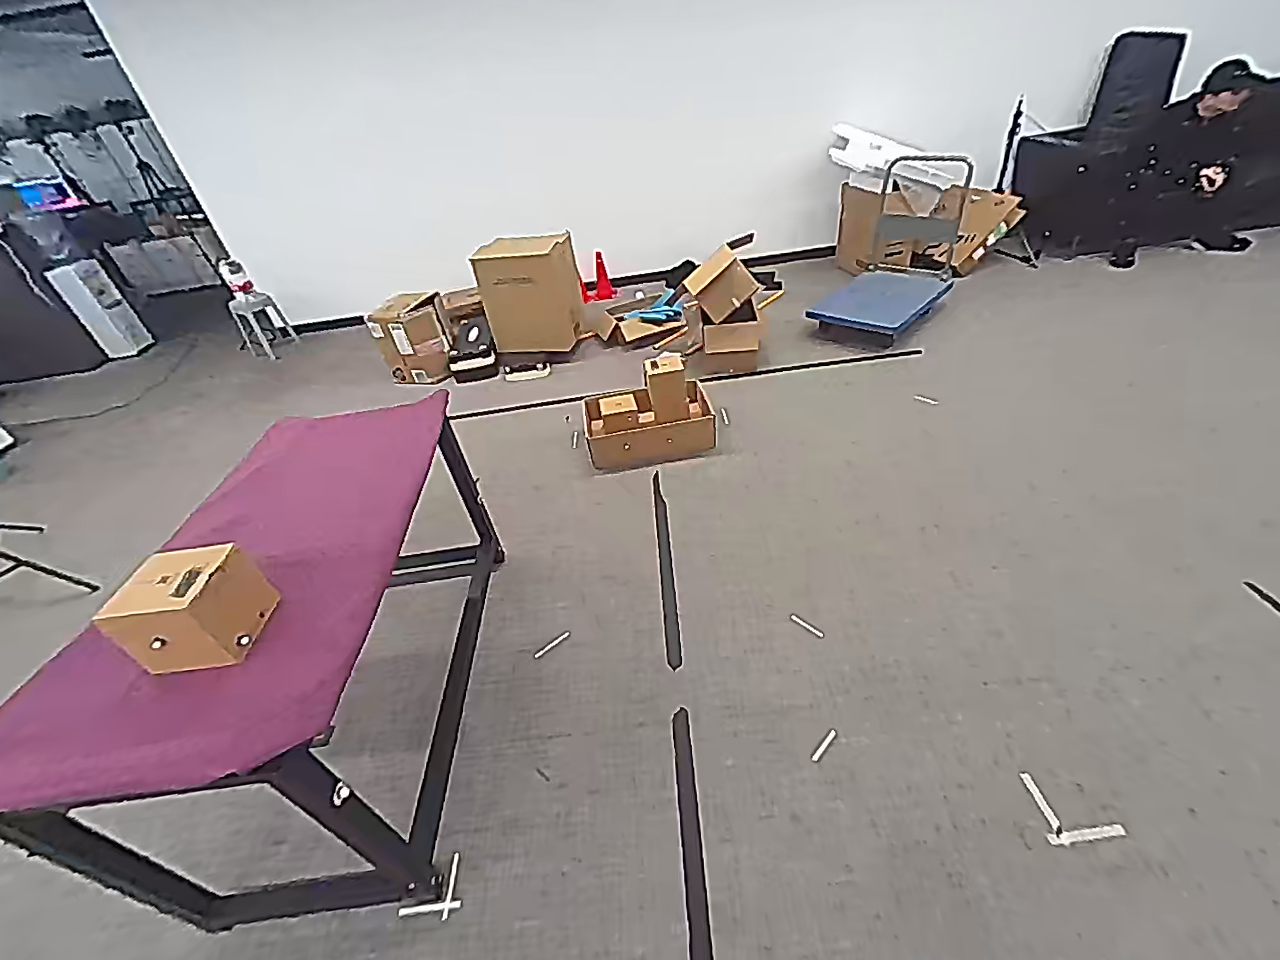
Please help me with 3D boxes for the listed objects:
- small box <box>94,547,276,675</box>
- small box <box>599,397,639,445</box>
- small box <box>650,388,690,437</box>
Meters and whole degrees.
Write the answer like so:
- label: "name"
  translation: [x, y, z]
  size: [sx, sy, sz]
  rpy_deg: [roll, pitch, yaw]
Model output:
- label: "small box"
  translation: [-0.858, 0.254, 1.046]
  size: [0.179, 0.176, 0.168]
  rpy_deg: [-8, 37, 2]
- label: "small box"
  translation: [-0.104, -0.295, 2.717]
  size: [0.179, 0.176, 0.168]
  rpy_deg: [-11, 36, -4]
- label: "small box"
  translation: [0.151, -0.340, 2.726]
  size: [0.168, 0.176, 0.179]
  rpy_deg: [-11, 37, -1]
